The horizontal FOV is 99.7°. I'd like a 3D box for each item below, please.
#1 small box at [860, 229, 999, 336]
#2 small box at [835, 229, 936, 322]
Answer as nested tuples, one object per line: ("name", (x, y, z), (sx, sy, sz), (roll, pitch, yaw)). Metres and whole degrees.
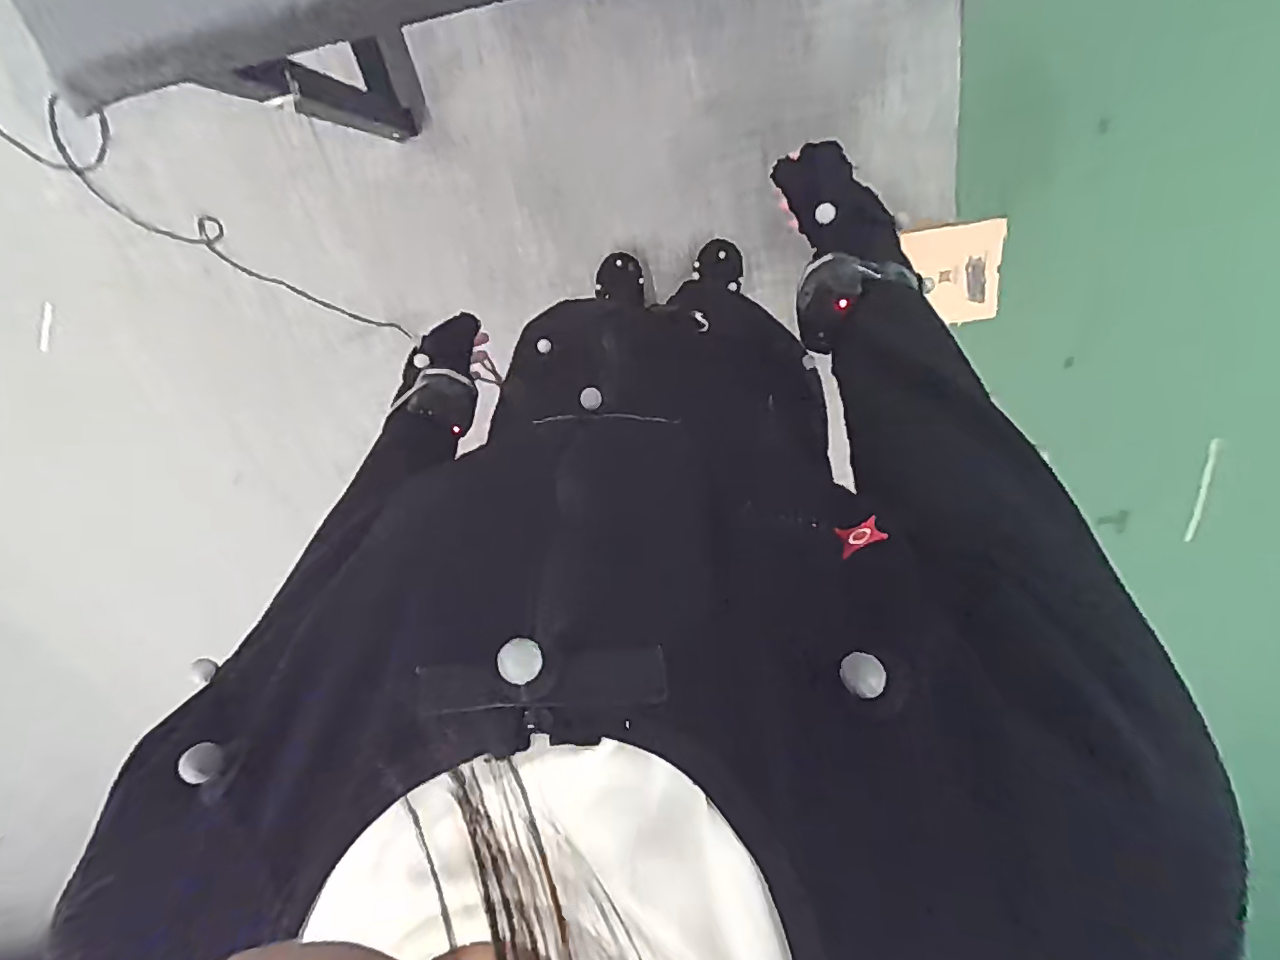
("small box", (0.539, -0.380, 1.030), (0.179, 0.176, 0.168), (-5, 114, 6))
("small box", (0.541, -0.450, 1.180), (0.179, 0.176, 0.168), (-6, 114, 6))
